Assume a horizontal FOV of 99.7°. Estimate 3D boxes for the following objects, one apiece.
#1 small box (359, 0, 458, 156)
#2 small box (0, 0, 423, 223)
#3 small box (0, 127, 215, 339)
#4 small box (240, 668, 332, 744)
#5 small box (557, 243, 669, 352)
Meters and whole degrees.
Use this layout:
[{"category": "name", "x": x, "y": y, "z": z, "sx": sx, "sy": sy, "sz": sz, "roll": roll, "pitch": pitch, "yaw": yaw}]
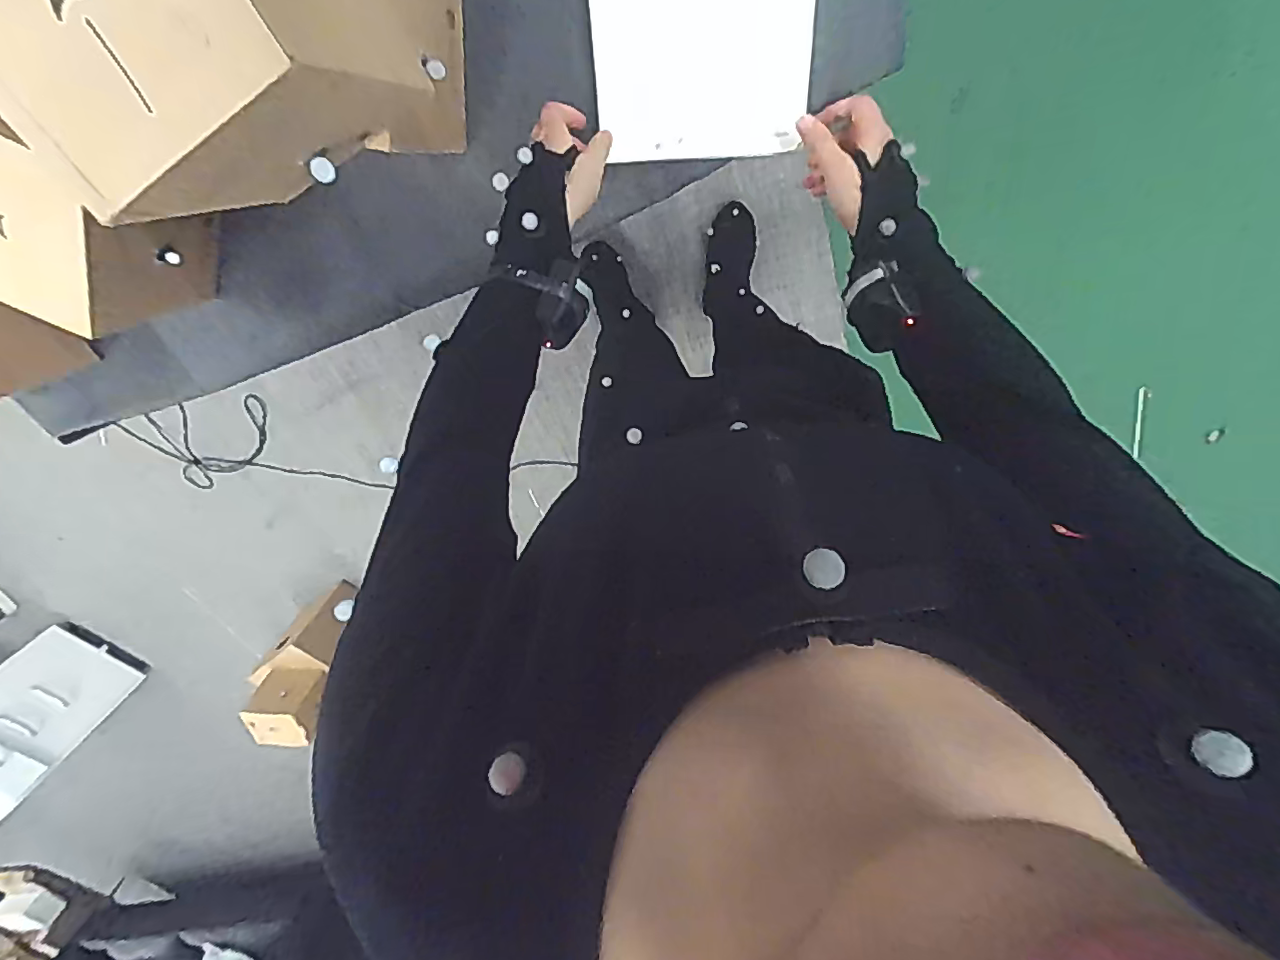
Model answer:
[{"category": "small box", "x": -0.262, "y": -0.380, "z": 0.449, "sx": 0.179, "sy": 0.176, "sz": 0.168, "roll": 10, "pitch": 123, "yaw": 1}, {"category": "small box", "x": -0.270, "y": -0.281, "z": 0.317, "sx": 0.168, "sy": 0.176, "sz": 0.179, "roll": -20, "pitch": 118, "yaw": 19}, {"category": "small box", "x": -0.575, "y": -0.276, "z": 0.547, "sx": 0.179, "sy": 0.176, "sz": 0.168, "roll": 26, "pitch": 121, "yaw": -10}, {"category": "small box", "x": -1.134, "y": 0.731, "z": 1.756, "sx": 0.179, "sy": 0.176, "sz": 0.168, "roll": 2, "pitch": 122, "yaw": 2}, {"category": "small box", "x": -0.057, "y": -0.414, "z": 1.234, "sx": 0.176, "sy": 0.168, "sz": 0.179, "roll": 13, "pitch": 104, "yaw": -40}]
